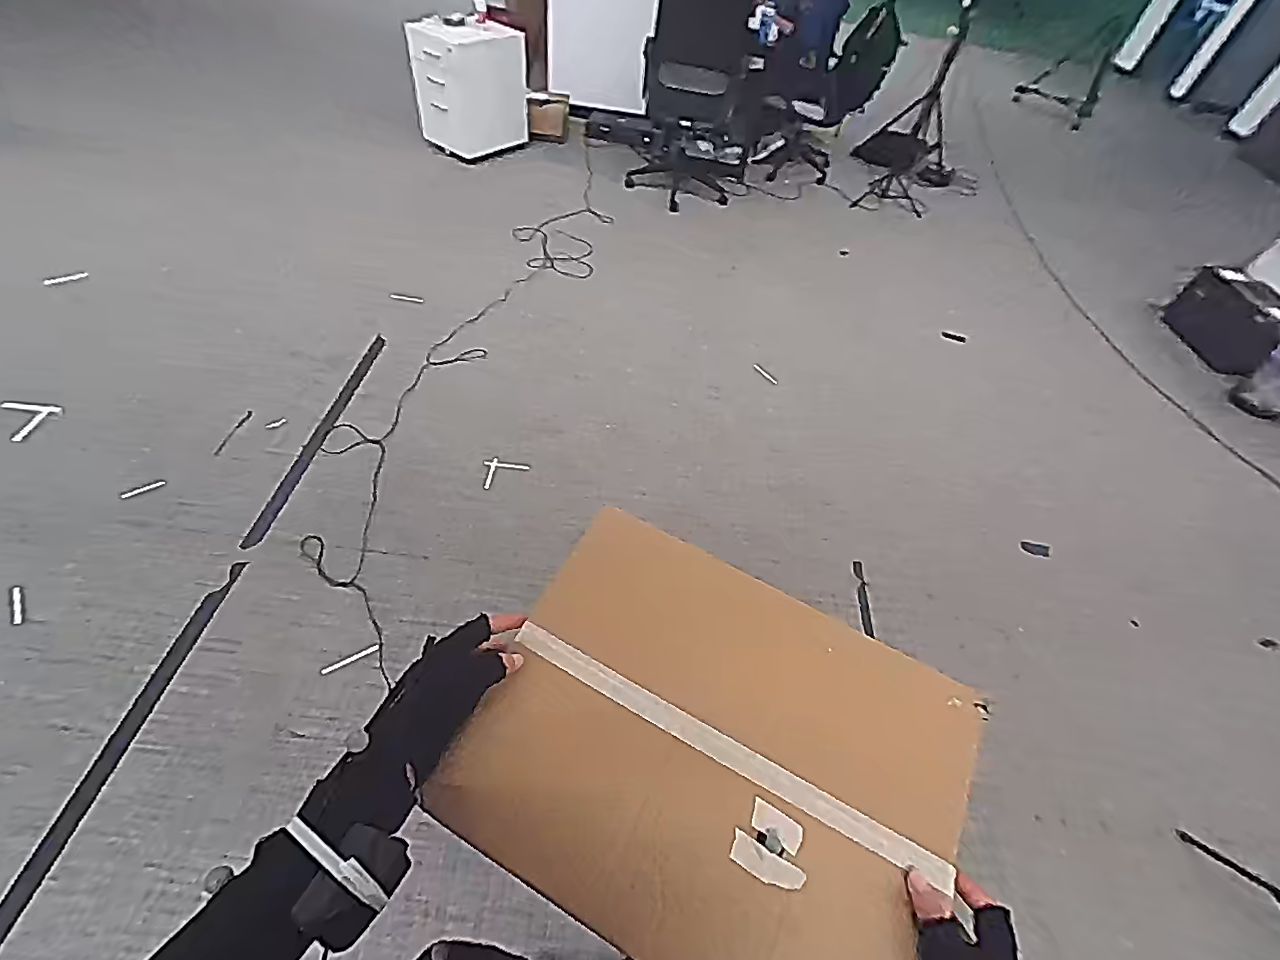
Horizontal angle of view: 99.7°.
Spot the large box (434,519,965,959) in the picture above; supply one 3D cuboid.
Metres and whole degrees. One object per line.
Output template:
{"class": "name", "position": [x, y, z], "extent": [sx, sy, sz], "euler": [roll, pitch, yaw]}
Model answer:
{"class": "large box", "position": [0.058, 0.311, 0.612], "extent": [0.408, 0.320, 0.320], "euler": [27, 62, 11]}
